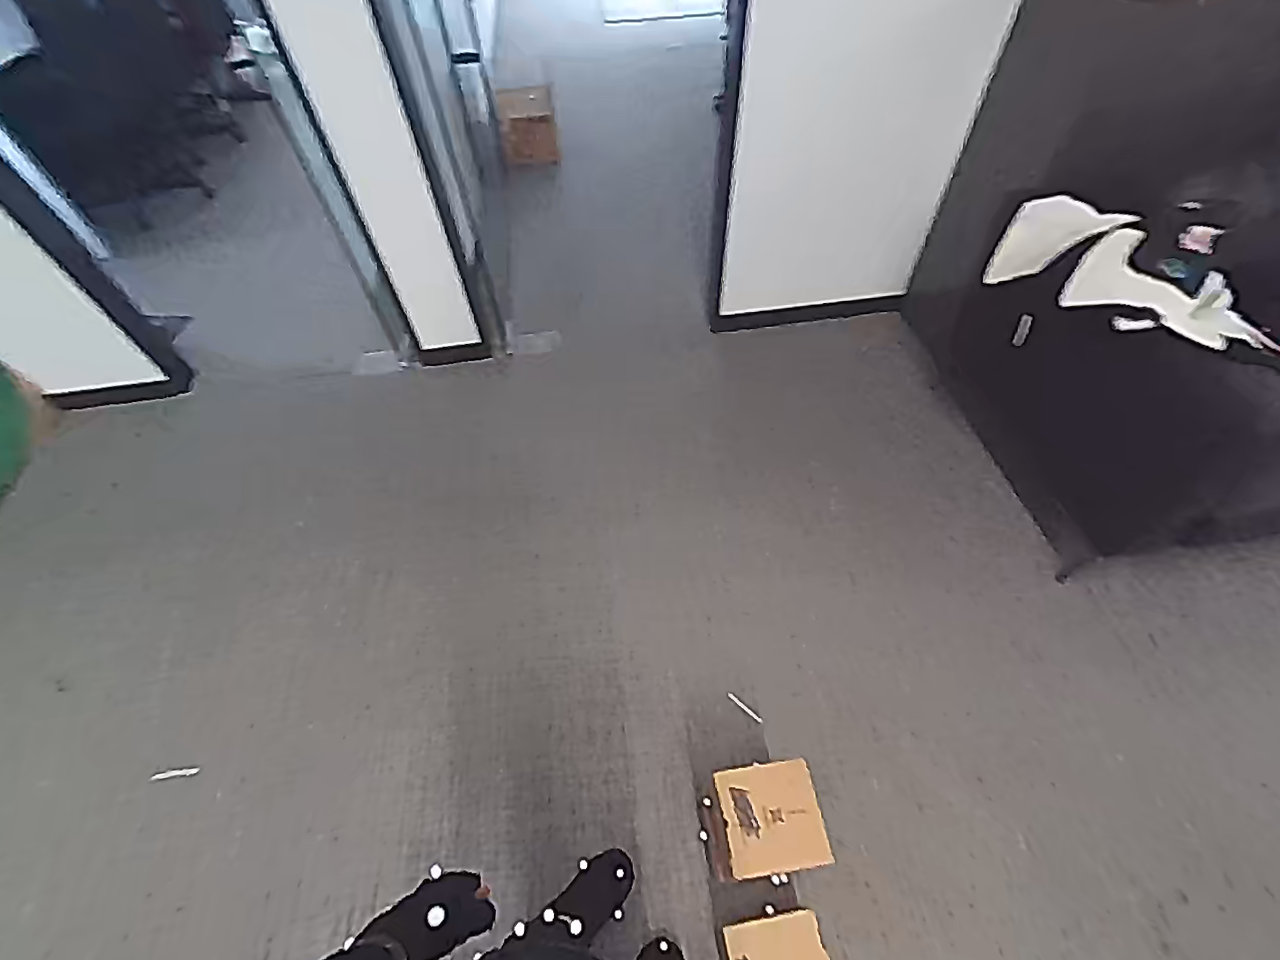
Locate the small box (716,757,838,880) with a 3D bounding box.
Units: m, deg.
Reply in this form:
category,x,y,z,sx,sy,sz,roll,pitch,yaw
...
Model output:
category,x,y,z,sx,sy,sz,roll,pitch,yaw
small box,0.243,0.640,1.017,0.179,0.176,0.168,-7,53,-4
